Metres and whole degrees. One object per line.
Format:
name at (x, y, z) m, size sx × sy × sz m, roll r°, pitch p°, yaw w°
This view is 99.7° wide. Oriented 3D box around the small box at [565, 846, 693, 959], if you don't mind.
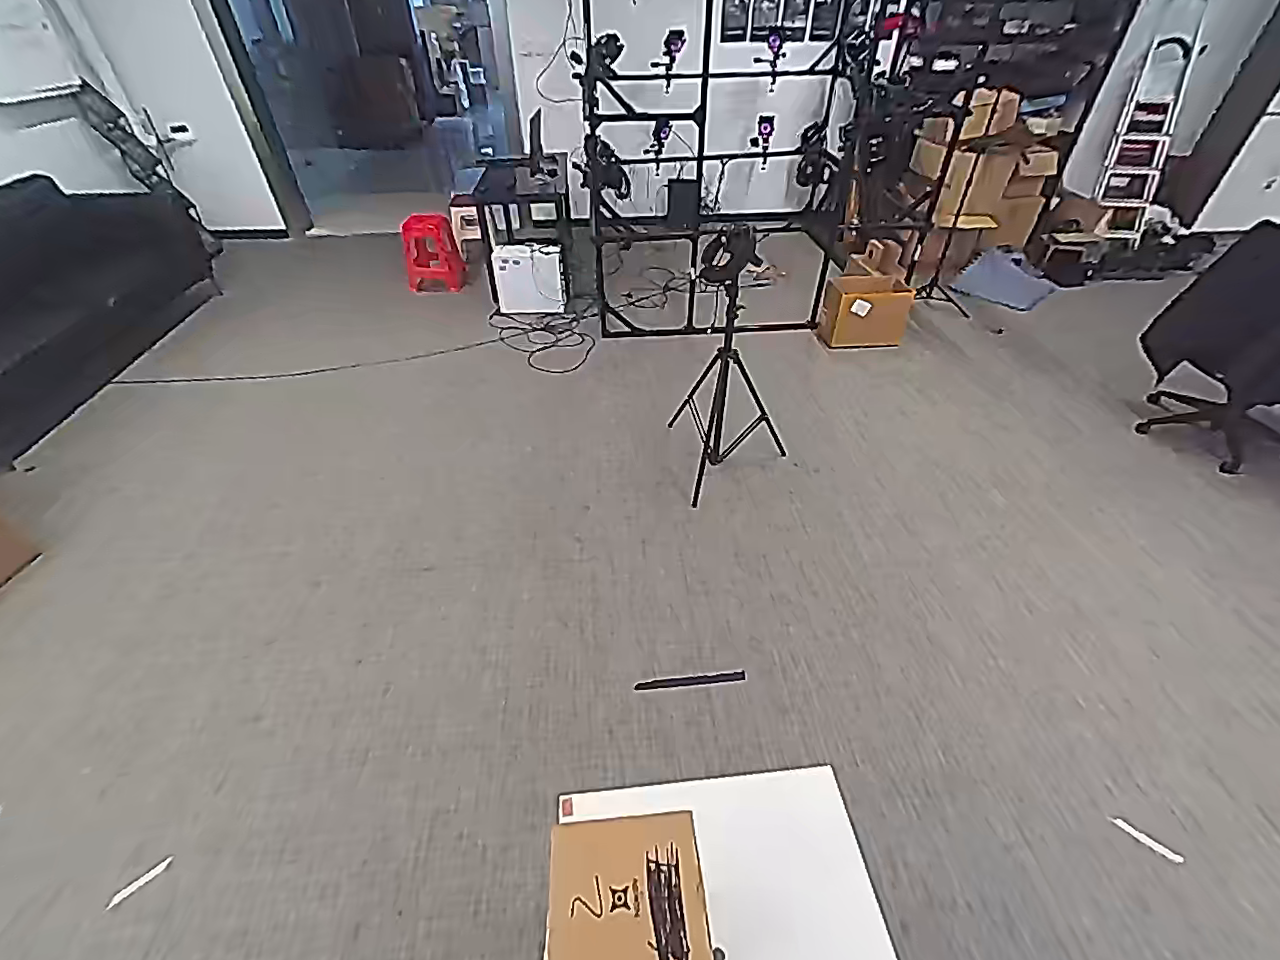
small box at (-0.015, 0.649, 0.765) m, size 0.168 × 0.176 × 0.179 m, roll -3°, pitch 41°, yaw -4°
